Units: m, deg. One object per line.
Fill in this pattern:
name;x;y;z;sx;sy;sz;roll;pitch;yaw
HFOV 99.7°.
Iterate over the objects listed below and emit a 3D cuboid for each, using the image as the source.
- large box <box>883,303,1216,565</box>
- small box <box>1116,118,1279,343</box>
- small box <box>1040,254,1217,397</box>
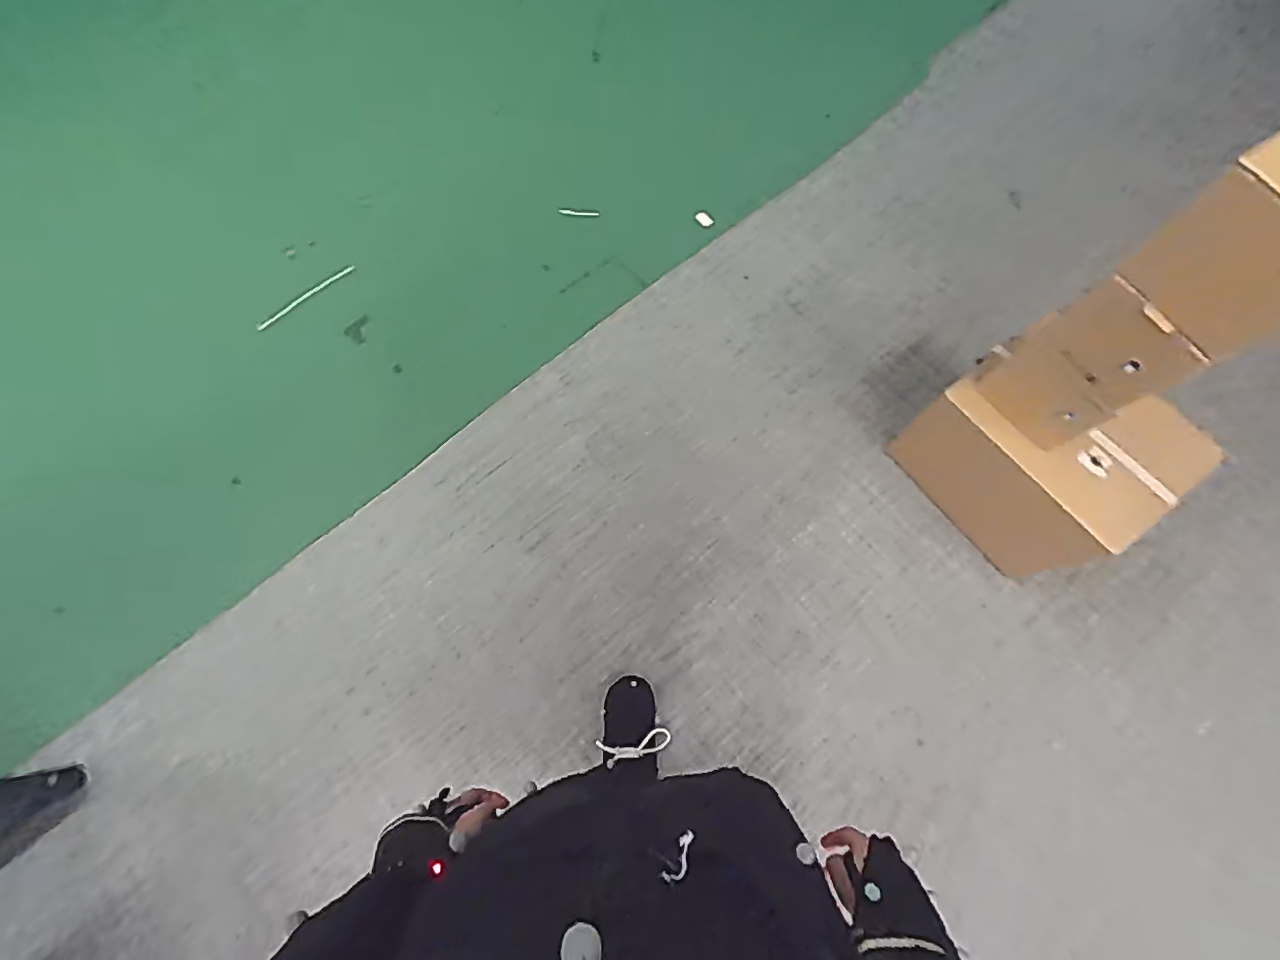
large box;0.825;-0.082;1.161;0.320;0.320;0.408;-37;76;-7
small box;0.735;-0.298;0.634;0.168;0.176;0.179;-32;77;-8
small box;0.740;-0.250;0.790;0.179;0.176;0.168;-33;77;-8
